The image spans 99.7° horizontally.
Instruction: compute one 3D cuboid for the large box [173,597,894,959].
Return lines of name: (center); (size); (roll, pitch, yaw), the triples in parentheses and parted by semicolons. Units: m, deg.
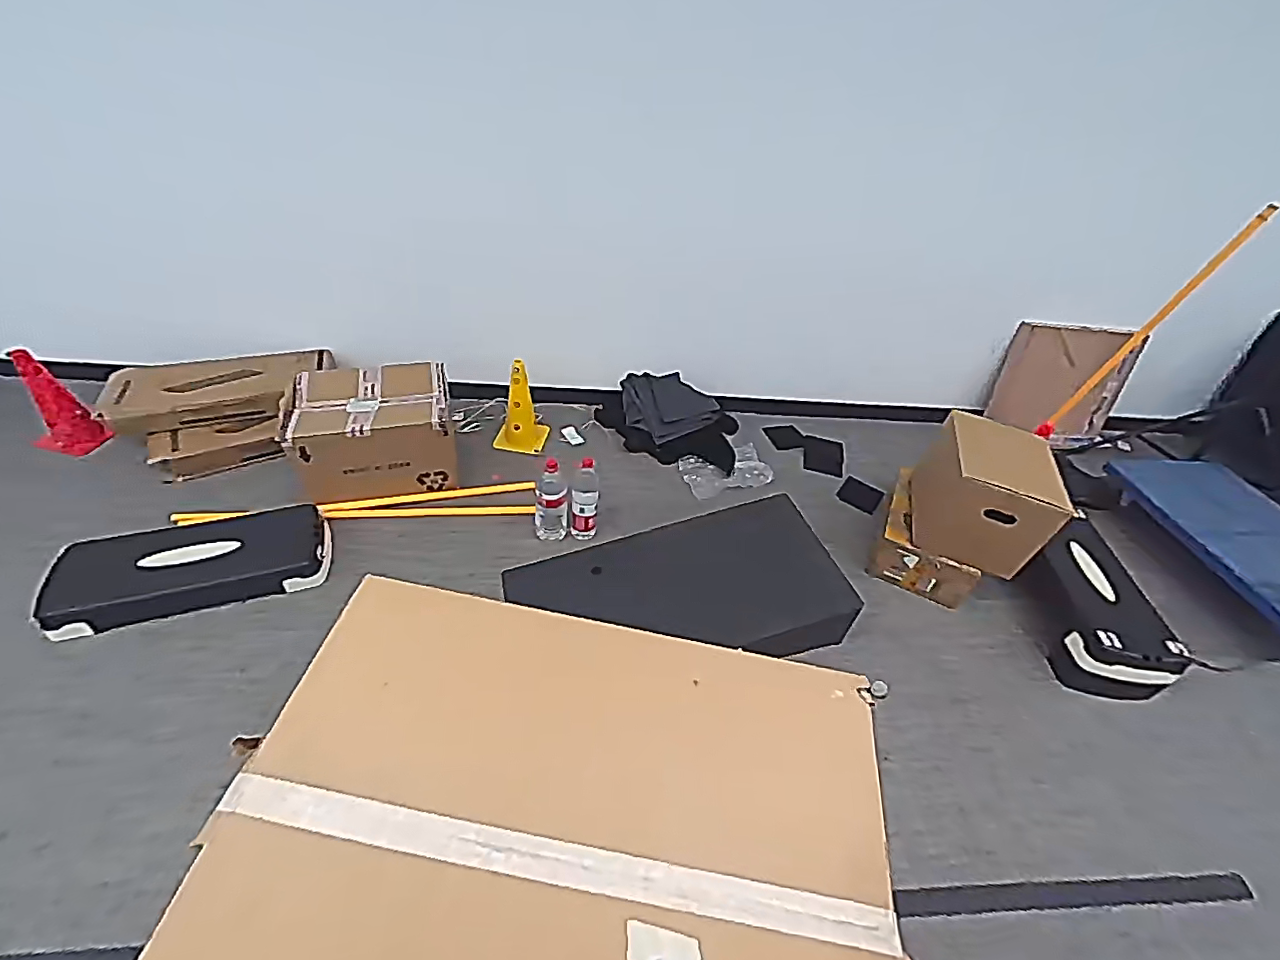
large box: (-0.060, 0.336, 0.440); (0.408, 0.320, 0.320); (11, 49, 1)
